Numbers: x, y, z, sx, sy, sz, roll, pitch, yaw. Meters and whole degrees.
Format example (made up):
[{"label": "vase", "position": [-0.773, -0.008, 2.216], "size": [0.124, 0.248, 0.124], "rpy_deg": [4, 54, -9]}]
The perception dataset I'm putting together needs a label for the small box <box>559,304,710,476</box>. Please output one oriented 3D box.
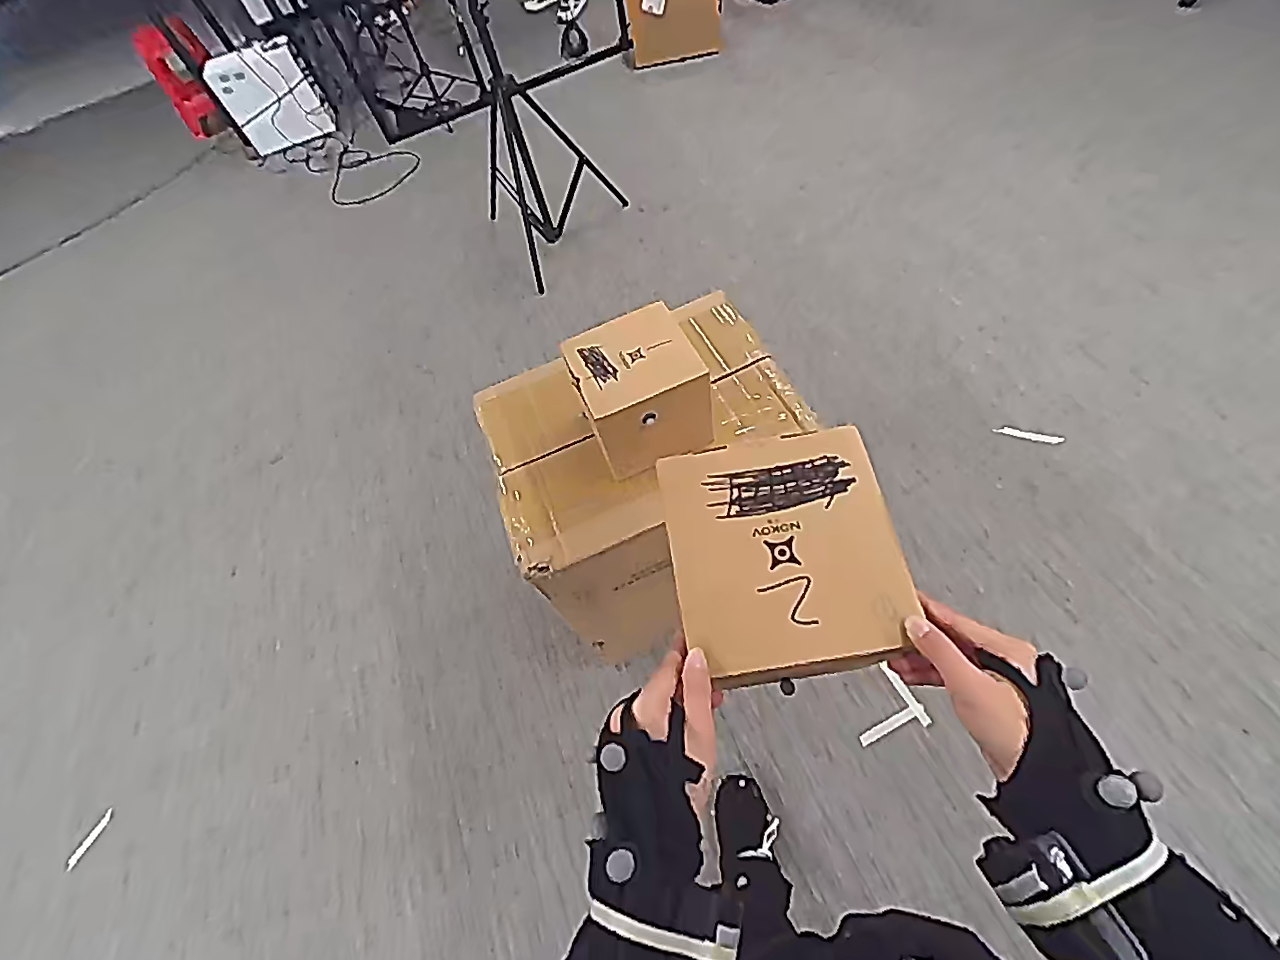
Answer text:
[{"label": "small box", "position": [-0.002, -0.133, 0.844], "size": [0.179, 0.176, 0.168], "rpy_deg": [-24, 59, -4]}]
